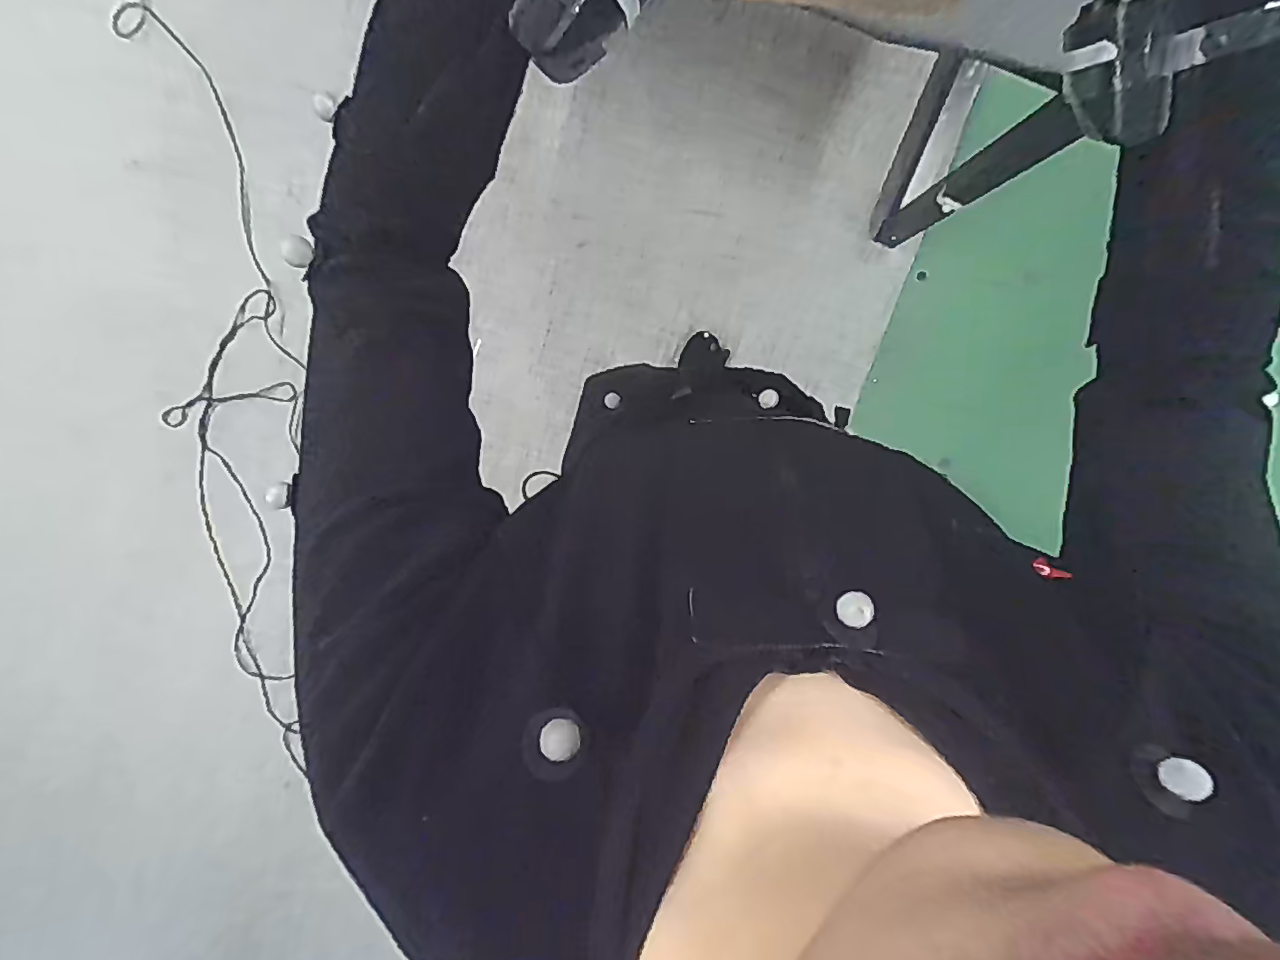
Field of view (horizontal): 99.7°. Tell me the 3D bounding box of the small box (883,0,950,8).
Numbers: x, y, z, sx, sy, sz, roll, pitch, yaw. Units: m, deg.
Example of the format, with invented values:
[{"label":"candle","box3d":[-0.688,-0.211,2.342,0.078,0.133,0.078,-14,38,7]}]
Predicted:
[{"label":"small box","box3d":[0.134,-0.393,0.271,0.168,0.176,0.179,7,94,1]}]
